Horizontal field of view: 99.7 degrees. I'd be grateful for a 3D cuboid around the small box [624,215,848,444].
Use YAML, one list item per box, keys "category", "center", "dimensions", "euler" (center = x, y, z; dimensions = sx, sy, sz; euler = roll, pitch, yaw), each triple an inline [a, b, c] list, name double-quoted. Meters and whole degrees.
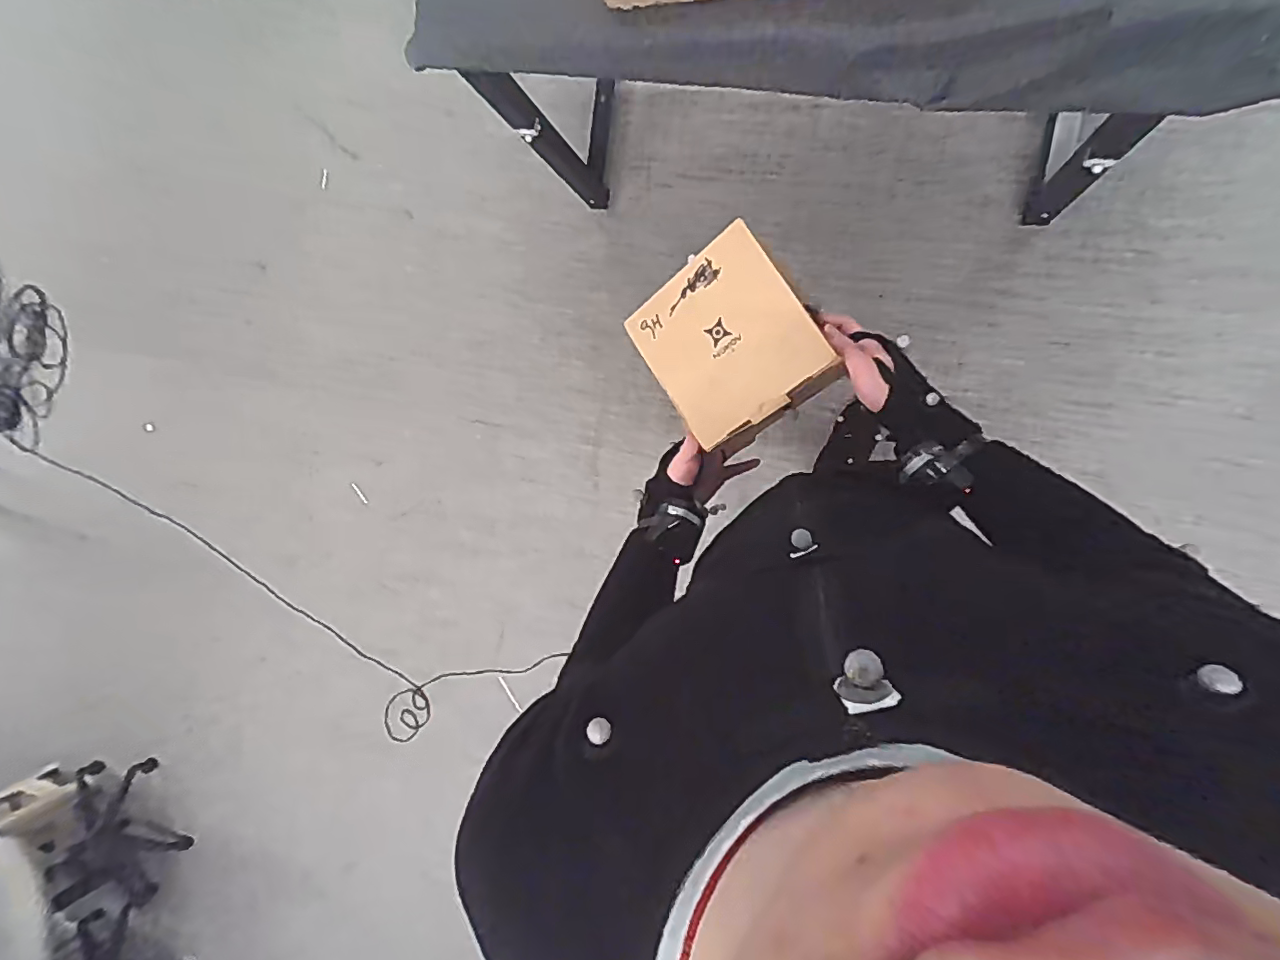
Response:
- category: "small box"
  center: [0.120, -0.164, 0.628]
  dimensions: [0.168, 0.176, 0.179]
  euler: [-35, 83, 27]
